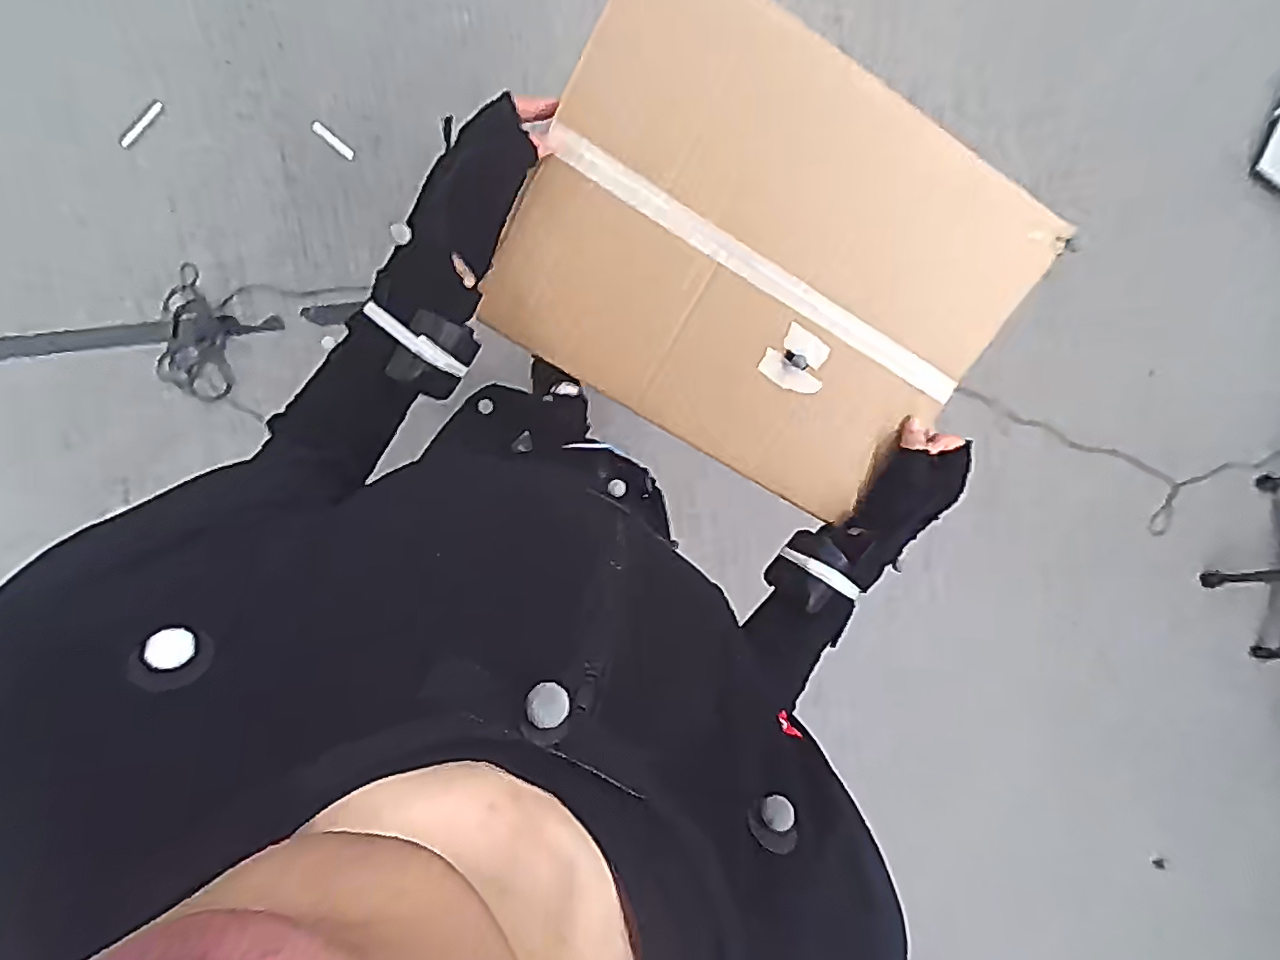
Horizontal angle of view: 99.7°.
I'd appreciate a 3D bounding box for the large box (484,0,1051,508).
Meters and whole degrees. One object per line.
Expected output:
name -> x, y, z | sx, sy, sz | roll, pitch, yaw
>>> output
large box -> 0.102, -0.233, 0.607 | 0.408, 0.320, 0.320 | 29, 107, -10
